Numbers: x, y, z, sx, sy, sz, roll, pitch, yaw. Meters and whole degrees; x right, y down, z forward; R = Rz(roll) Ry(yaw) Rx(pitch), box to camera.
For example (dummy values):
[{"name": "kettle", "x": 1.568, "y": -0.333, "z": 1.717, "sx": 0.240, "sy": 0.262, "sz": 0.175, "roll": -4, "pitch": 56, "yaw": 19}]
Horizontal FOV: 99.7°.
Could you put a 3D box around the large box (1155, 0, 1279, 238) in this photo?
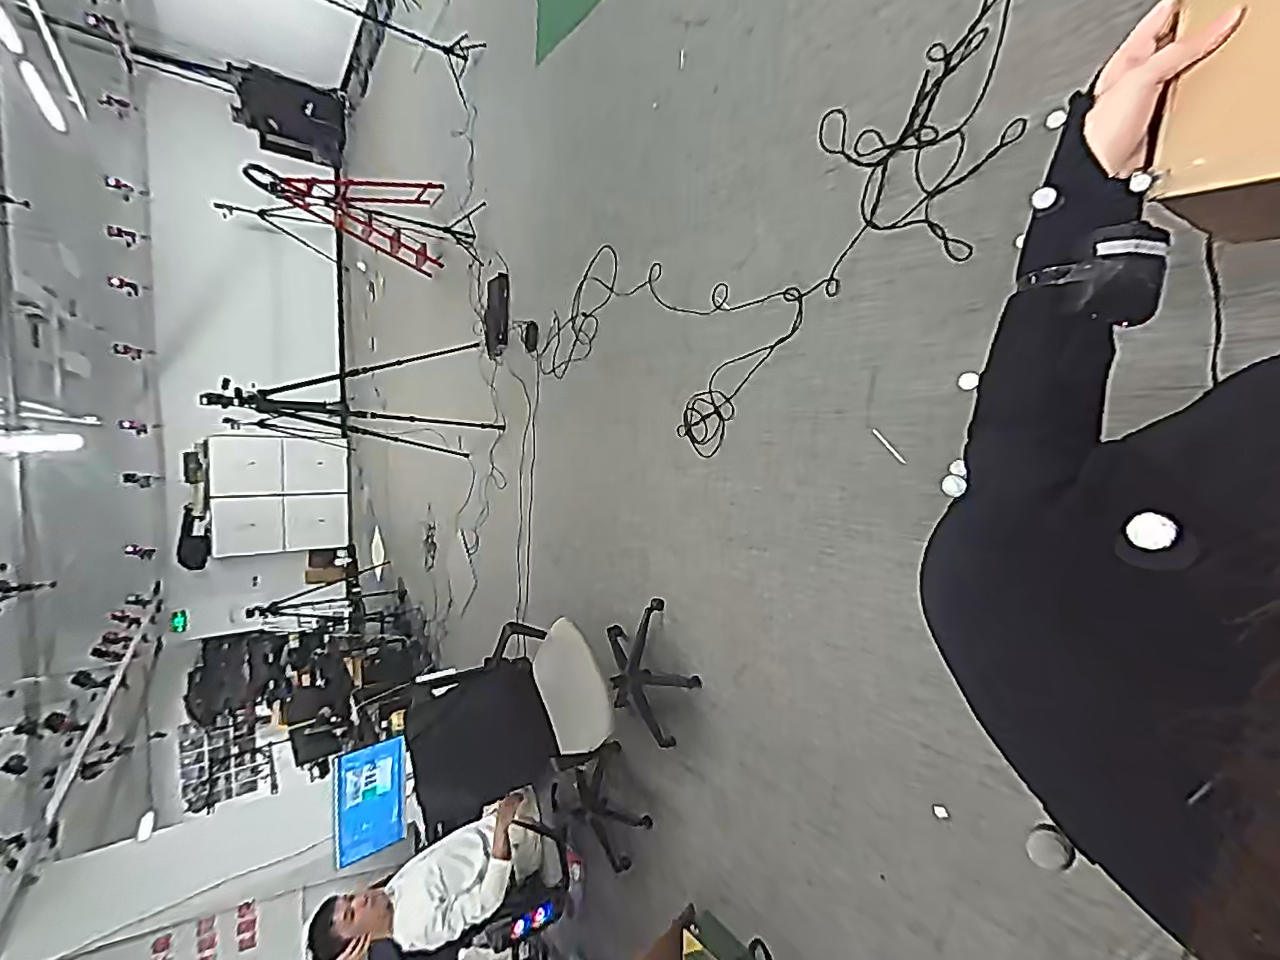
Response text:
[{"name": "large box", "x": 0.624, "y": -0.349, "z": 0.304, "sx": 0.408, "sy": 0.320, "sz": 0.320, "roll": 16, "pitch": 111, "yaw": 54}]
